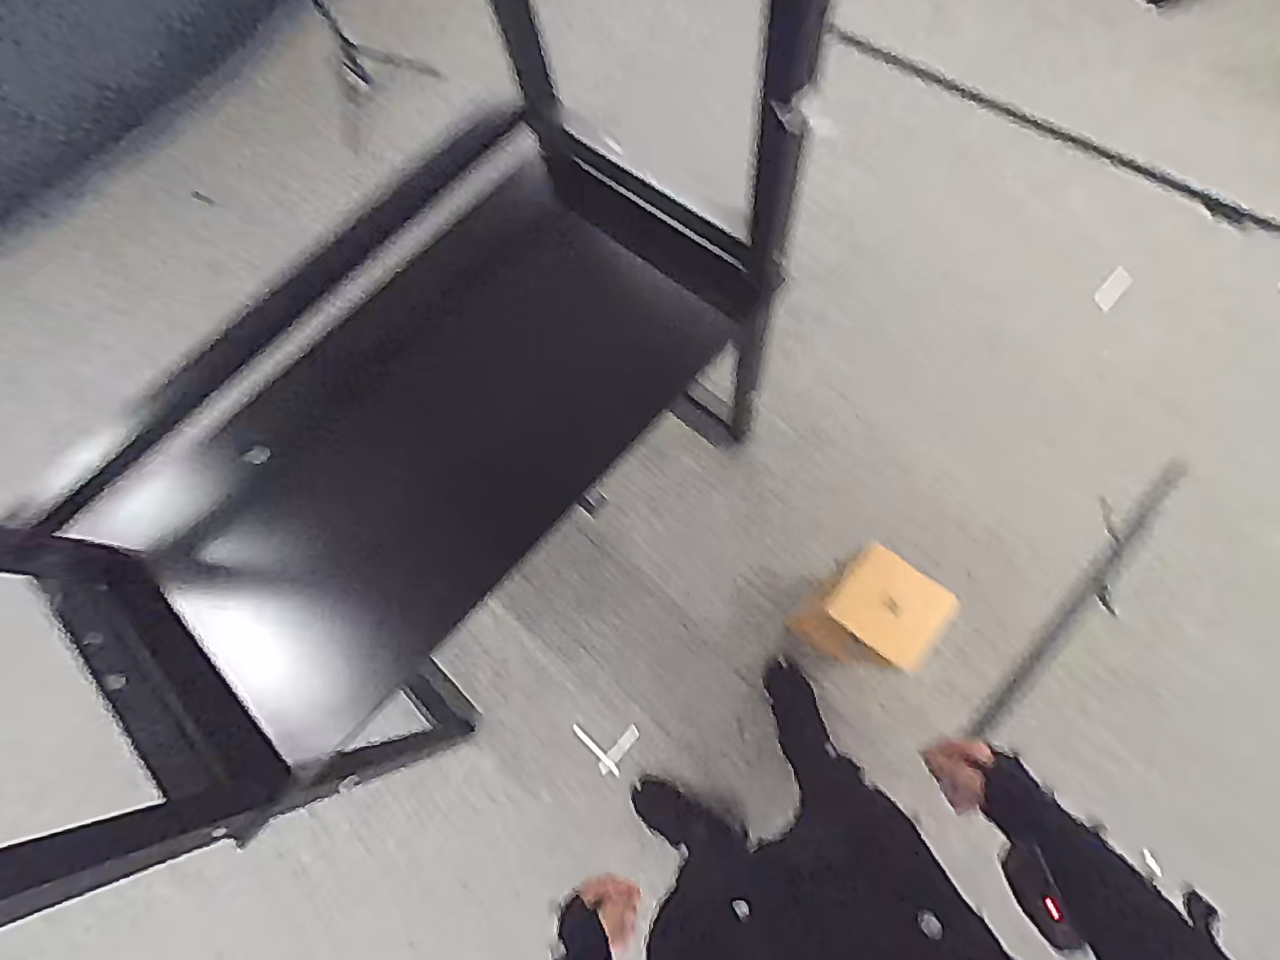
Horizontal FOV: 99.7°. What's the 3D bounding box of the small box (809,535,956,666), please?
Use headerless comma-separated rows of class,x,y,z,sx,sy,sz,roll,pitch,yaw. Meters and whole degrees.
small box,0.455,0.233,1.044,0.179,0.176,0.168,36,81,16

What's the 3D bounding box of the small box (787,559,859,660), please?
small box,0.488,0.326,1.356,0.168,0.176,0.179,38,82,16
